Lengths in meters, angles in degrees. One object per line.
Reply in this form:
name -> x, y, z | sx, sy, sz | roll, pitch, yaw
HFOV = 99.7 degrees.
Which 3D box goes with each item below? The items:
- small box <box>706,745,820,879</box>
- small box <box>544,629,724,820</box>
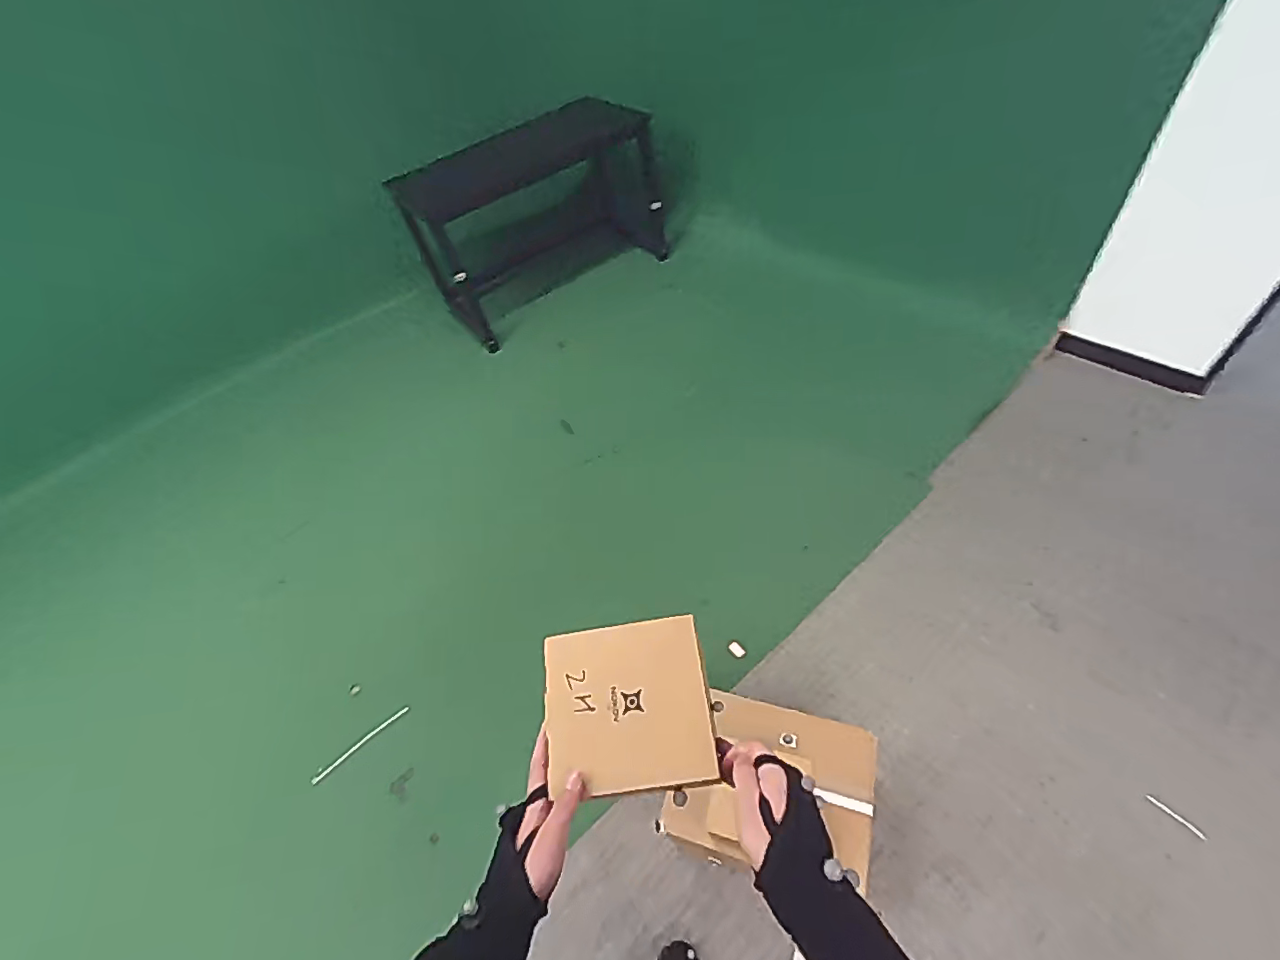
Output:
small box -> 0.235, 0.632, 1.025 | 0.179, 0.176, 0.168 | 8, 53, 19
small box -> -0.003, 0.285, 0.627 | 0.179, 0.176, 0.168 | -10, 58, 4
